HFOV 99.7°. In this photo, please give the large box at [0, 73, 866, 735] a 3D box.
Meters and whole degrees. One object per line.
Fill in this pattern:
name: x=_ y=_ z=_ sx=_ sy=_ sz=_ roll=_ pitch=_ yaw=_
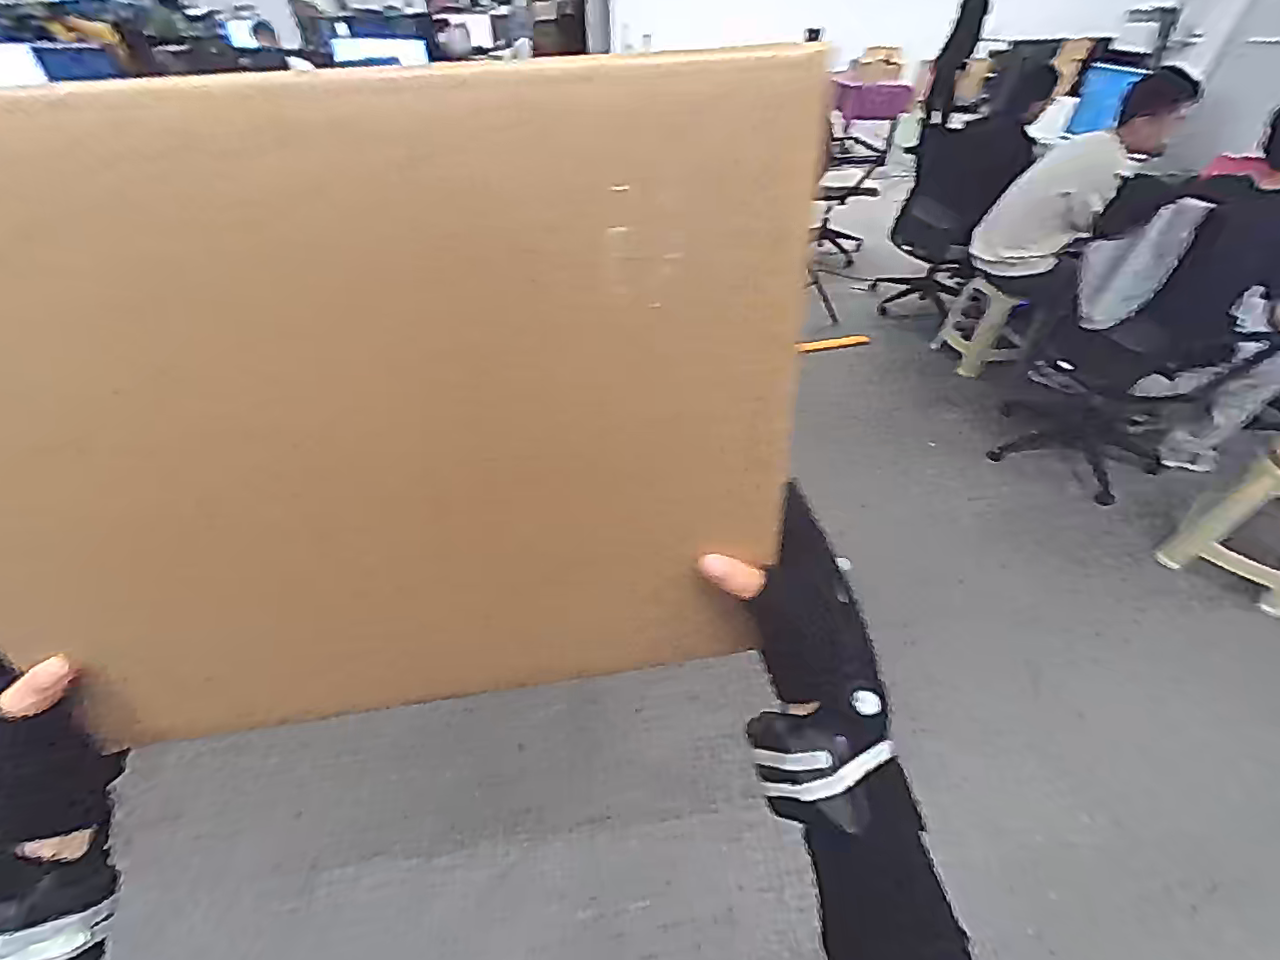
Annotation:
large box: x=-0.130 y=-0.076 z=0.379 sx=0.408 sy=0.320 sz=0.320 roll=-6 pitch=34 yaw=-7
